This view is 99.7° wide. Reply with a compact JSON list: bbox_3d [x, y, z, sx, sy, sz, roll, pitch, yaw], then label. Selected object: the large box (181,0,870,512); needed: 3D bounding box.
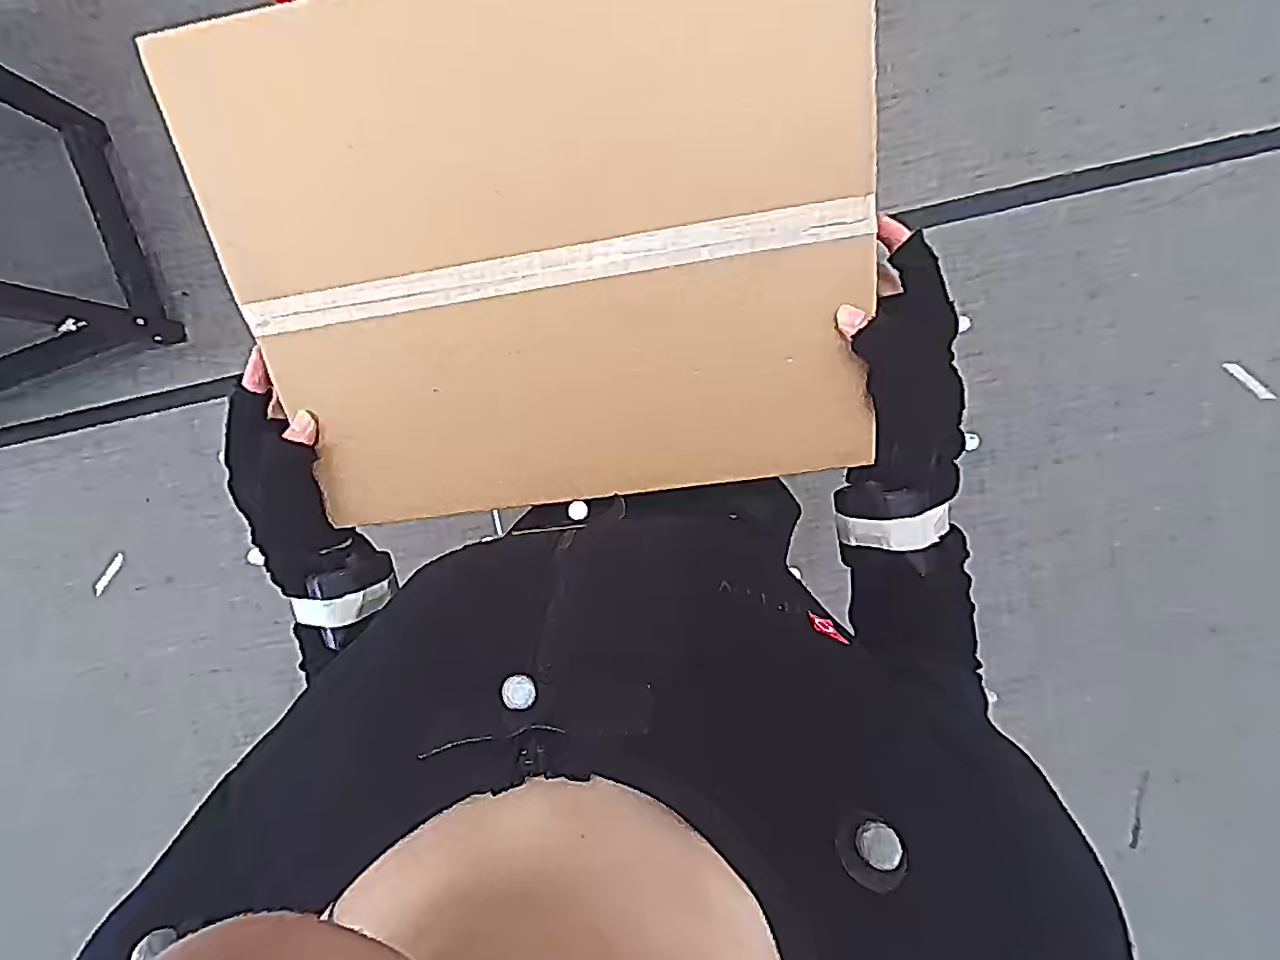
[{"bbox_3d":[-0.051,-0.194,0.489,0.408,0.320,0.320,-7,112,6],"label":"large box"}]
